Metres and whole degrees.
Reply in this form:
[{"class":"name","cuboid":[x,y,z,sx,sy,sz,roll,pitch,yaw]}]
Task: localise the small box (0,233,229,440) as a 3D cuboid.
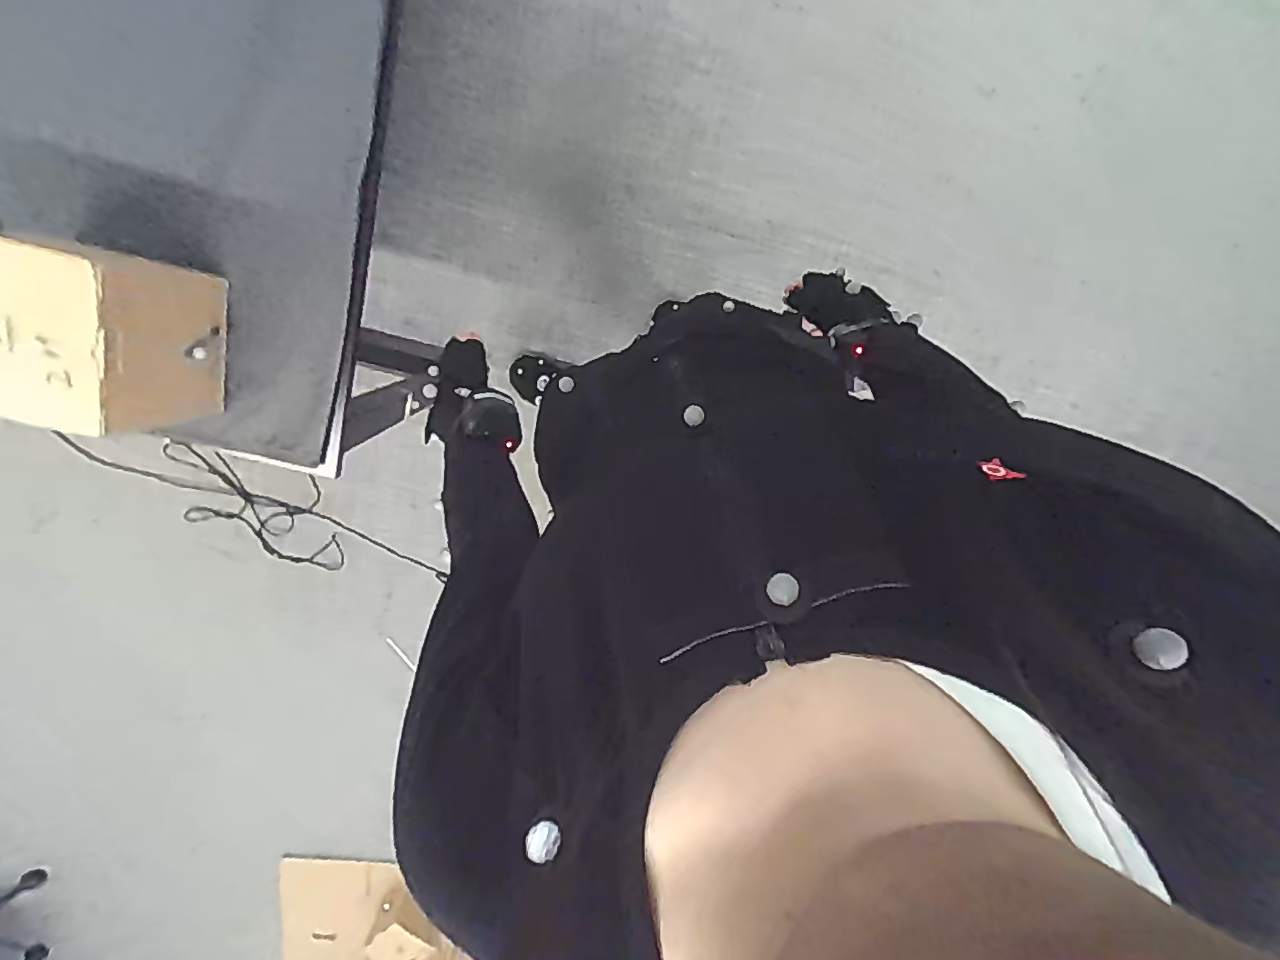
[{"class":"small box","cuboid":[-0.583,-0.153,0.567,0.179,0.176,0.168,13,105,-5]}]
